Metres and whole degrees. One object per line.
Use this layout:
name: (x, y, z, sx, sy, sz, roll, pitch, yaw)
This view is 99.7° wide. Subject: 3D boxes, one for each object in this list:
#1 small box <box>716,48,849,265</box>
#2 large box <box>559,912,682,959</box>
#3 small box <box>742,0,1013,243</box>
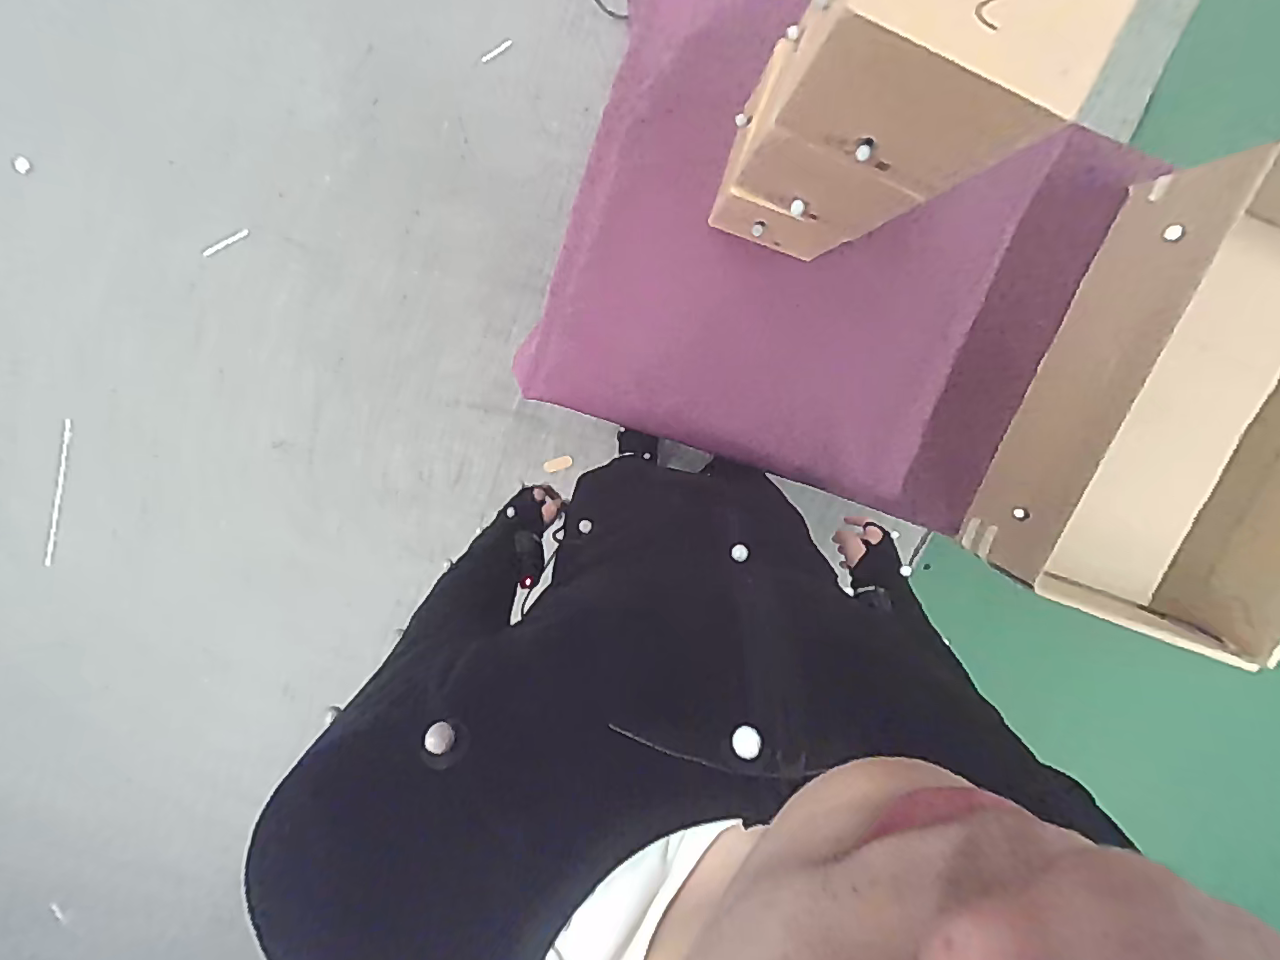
small box: (0.210, -0.410, 0.724, 0.168, 0.176, 0.179, 18, 99, -5)
large box: (-0.048, 1.752, 1.811, 0.408, 0.320, 0.320, -13, 102, 0)
small box: (0.223, -0.379, 0.563, 0.168, 0.176, 0.179, 22, 100, -6)
